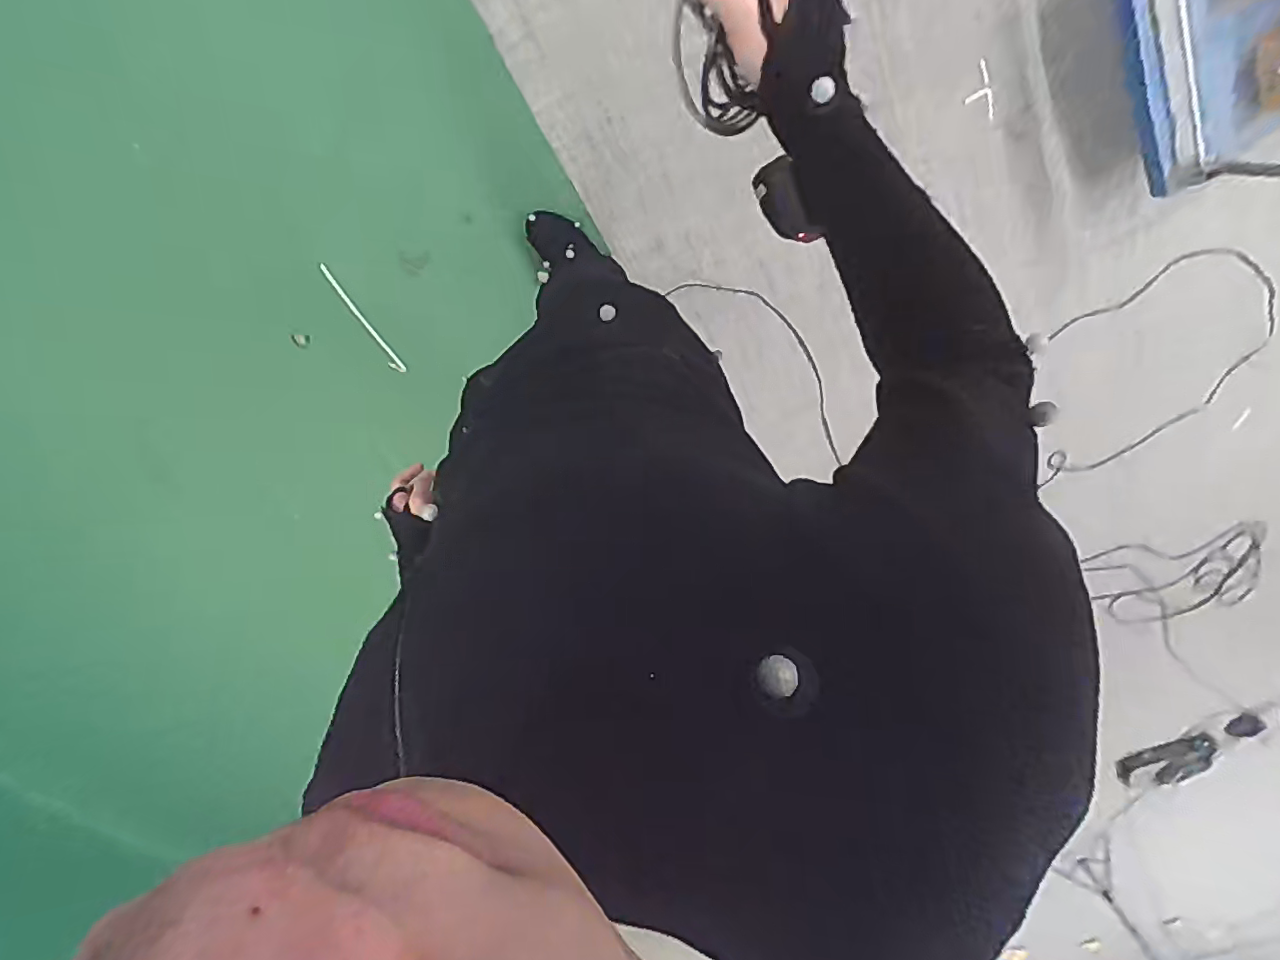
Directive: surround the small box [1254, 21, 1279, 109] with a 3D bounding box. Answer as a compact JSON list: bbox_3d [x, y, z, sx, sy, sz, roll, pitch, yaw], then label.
[{"bbox_3d":[1.447,-0.905,1.114,0.179,0.176,0.168,-32,118,13],"label":"small box"}]
